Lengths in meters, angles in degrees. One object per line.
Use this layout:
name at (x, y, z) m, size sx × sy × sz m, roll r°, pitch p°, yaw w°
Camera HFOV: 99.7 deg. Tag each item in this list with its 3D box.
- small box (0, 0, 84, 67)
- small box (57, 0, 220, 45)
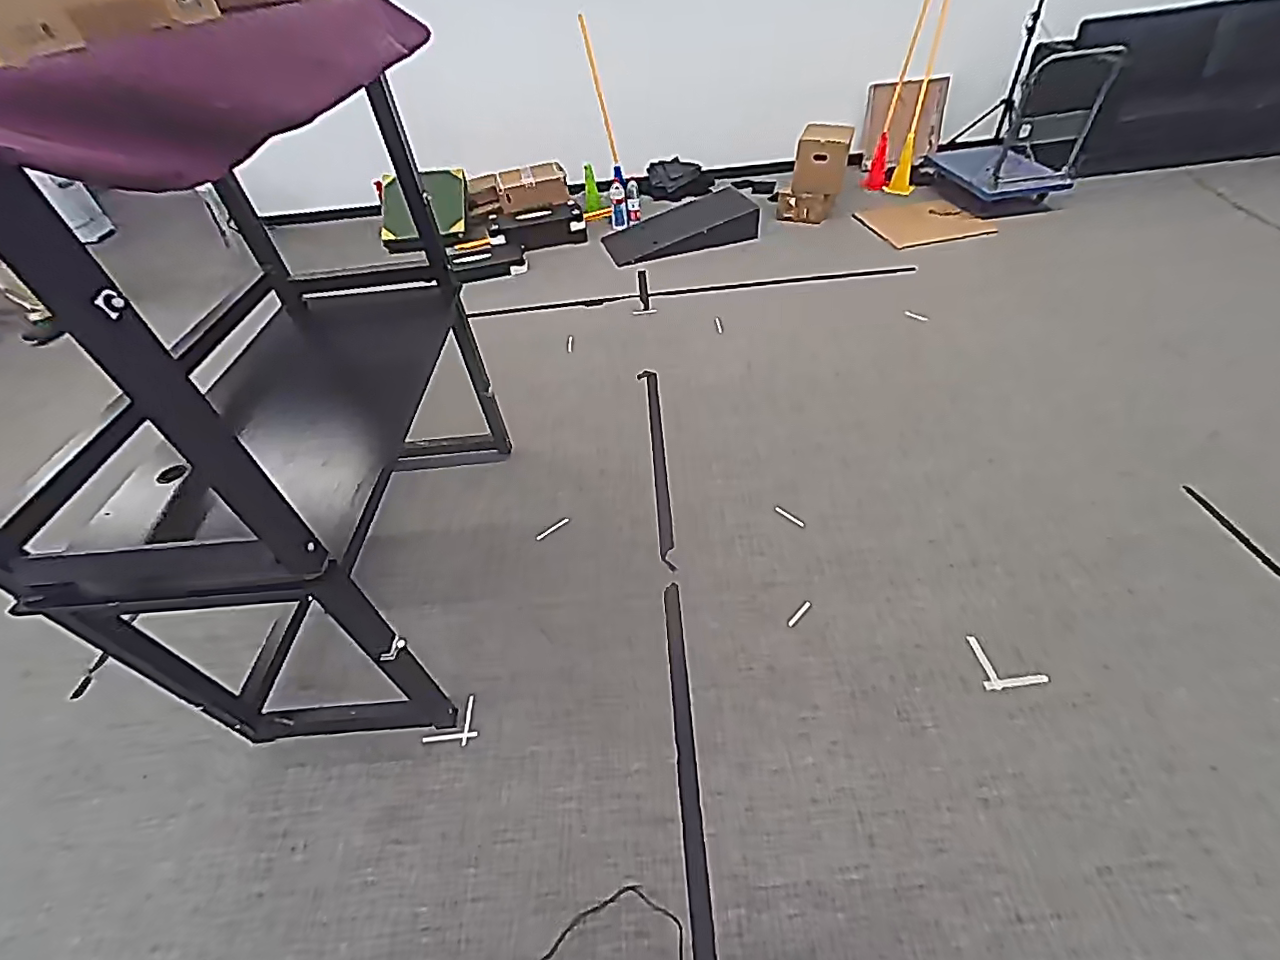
small box at (-0.777, -0.534, 0.568) m, size 0.179 × 0.176 × 0.168 m, roll -12°, pitch 45°, yaw -4°
small box at (-0.800, -0.778, 0.814) m, size 0.179 × 0.176 × 0.168 m, roll -8°, pitch 46°, yaw -1°
